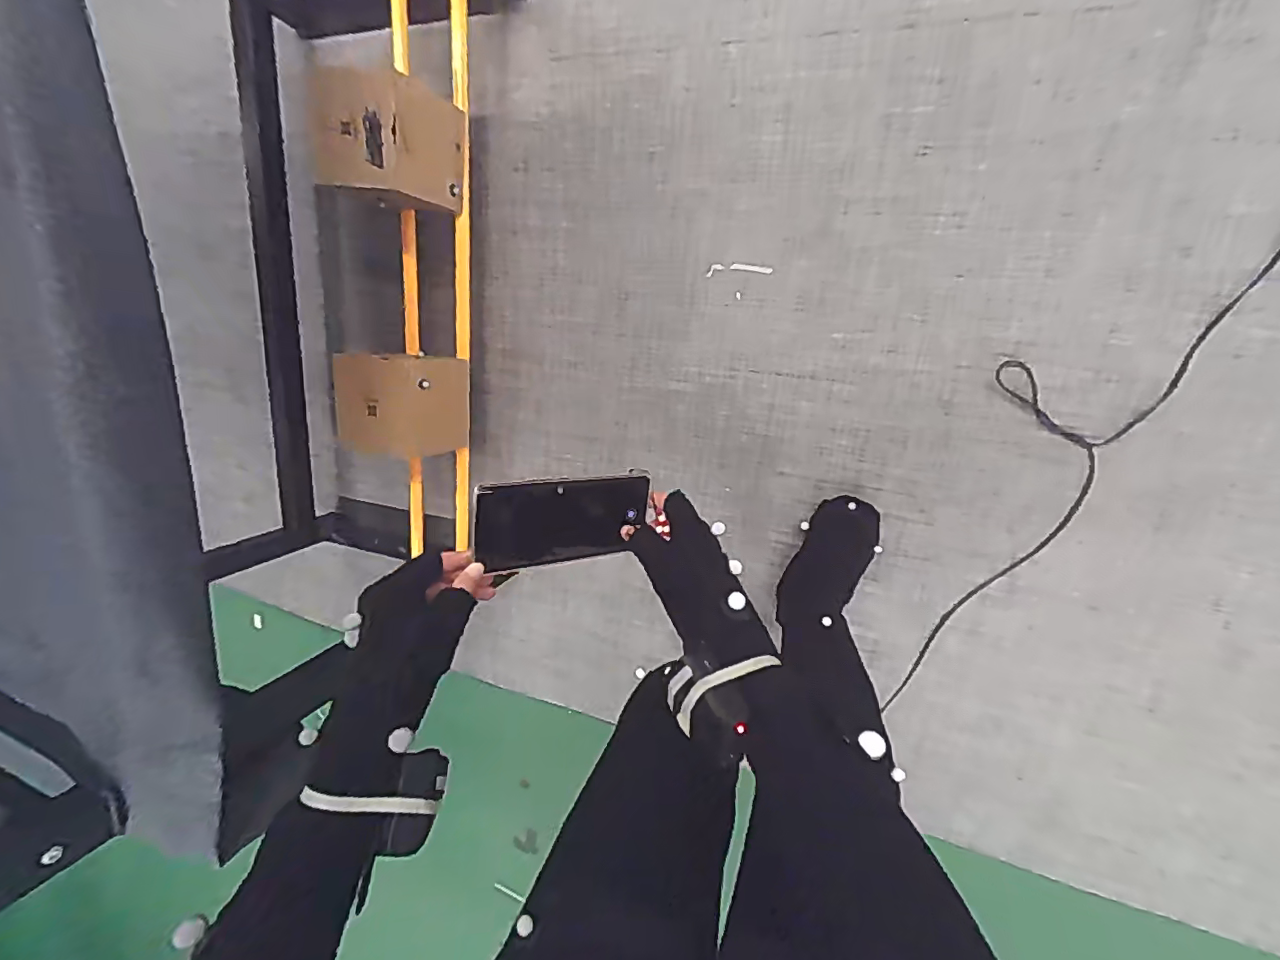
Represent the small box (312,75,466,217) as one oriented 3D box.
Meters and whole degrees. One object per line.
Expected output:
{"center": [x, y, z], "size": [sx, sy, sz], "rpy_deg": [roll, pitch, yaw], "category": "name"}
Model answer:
{"center": [-0.416, -0.555, 0.917], "size": [0.179, 0.176, 0.168], "rpy_deg": [13, 106, 17], "category": "small box"}
